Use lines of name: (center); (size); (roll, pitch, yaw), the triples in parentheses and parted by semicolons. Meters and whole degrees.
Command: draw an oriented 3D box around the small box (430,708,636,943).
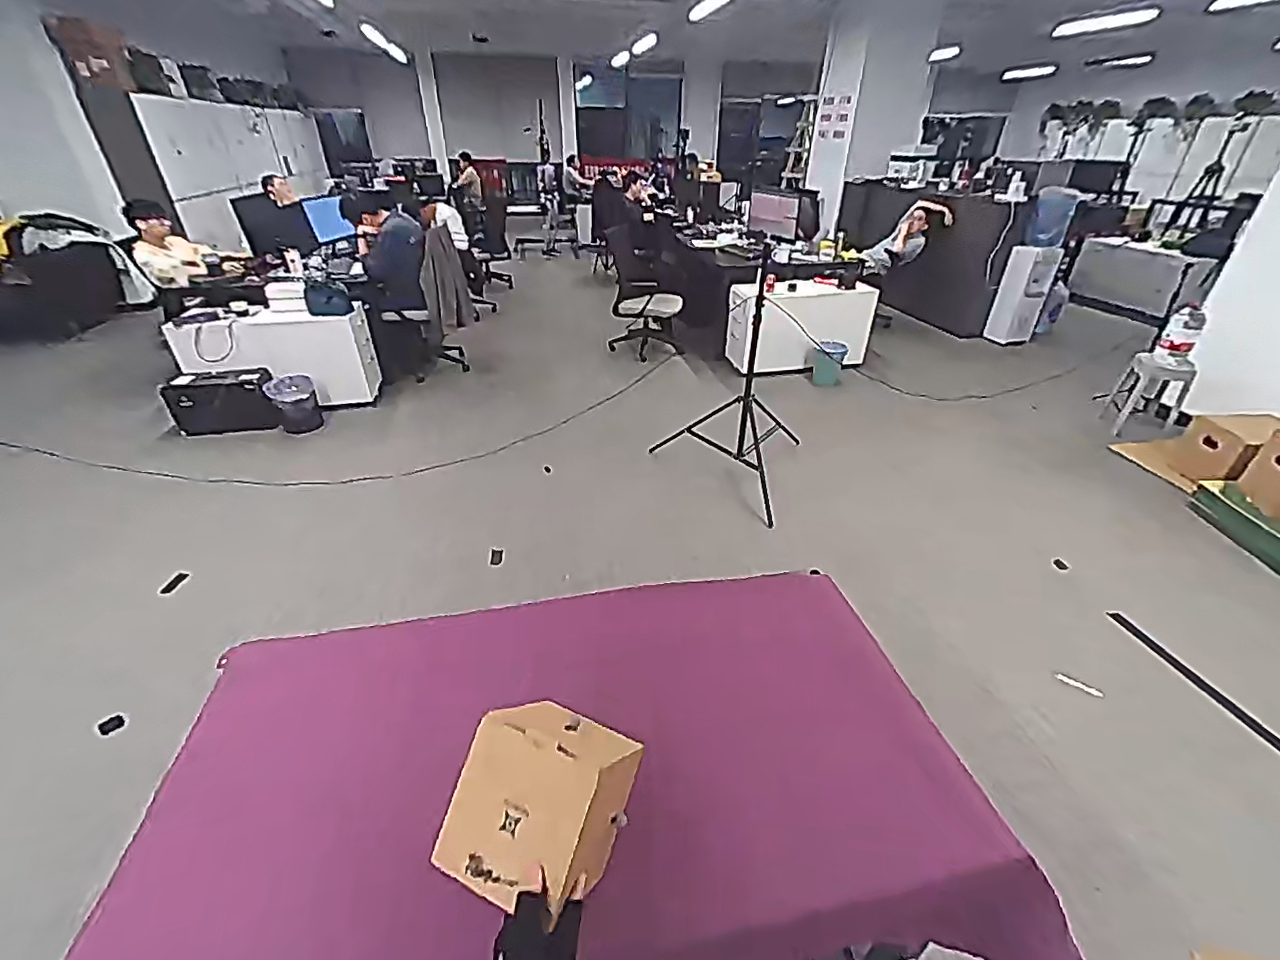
small box: (-0.119, 0.405, 0.679); (0.168, 0.176, 0.179); (15, 79, 22)
